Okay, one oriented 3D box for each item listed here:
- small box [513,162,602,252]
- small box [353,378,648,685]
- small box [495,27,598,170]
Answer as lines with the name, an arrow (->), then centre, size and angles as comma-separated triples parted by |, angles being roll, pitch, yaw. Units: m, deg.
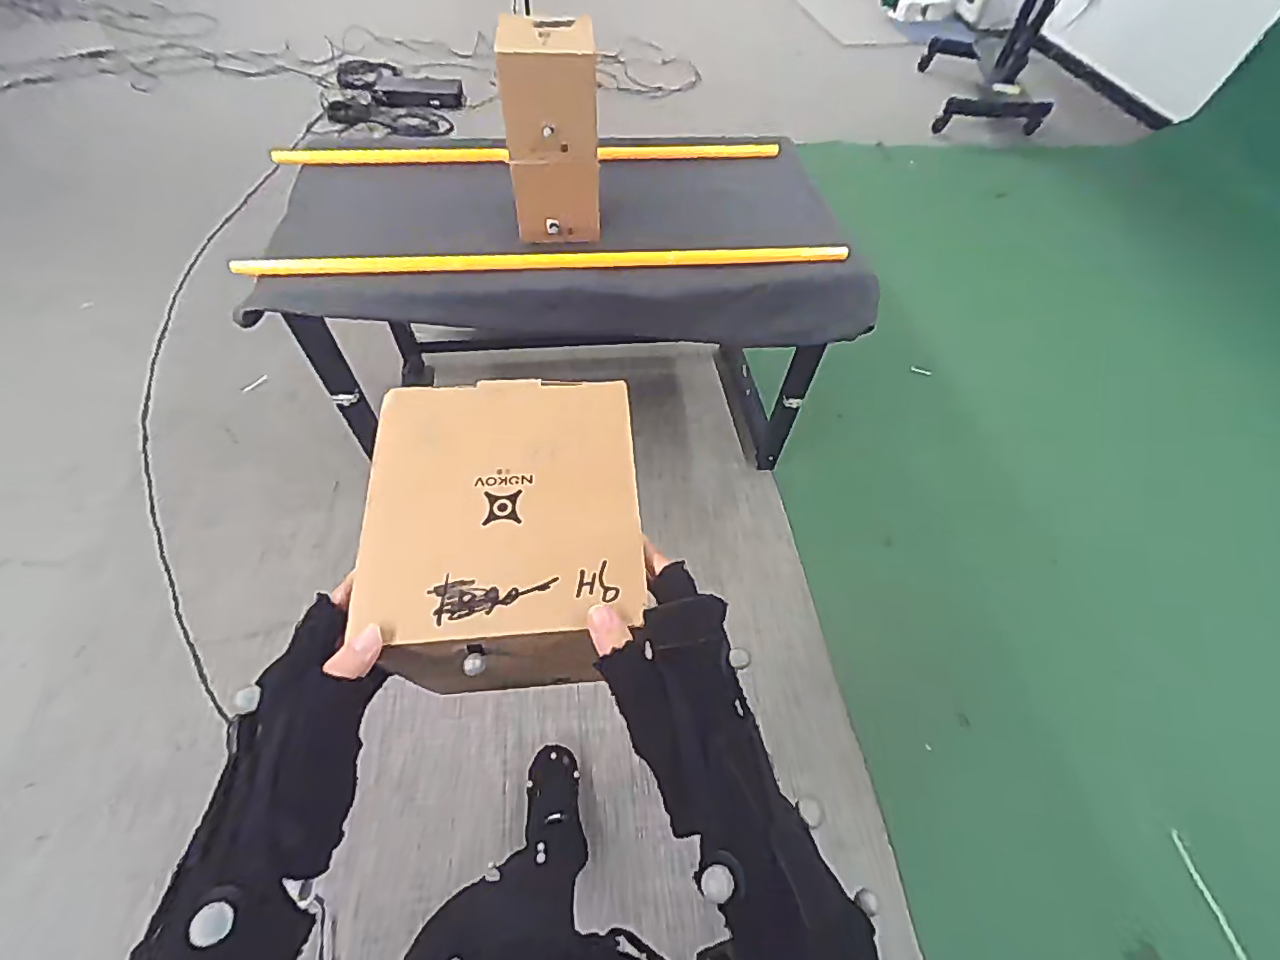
small box -> -0.170, -0.602, 1.128 | 0.168, 0.176, 0.179 | -6, 57, -6
small box -> -0.087, 0.045, 0.412 | 0.168, 0.176, 0.179 | -4, 60, -4
small box -> -0.164, -0.700, 0.997 | 0.168, 0.176, 0.179 | -3, 56, -4
